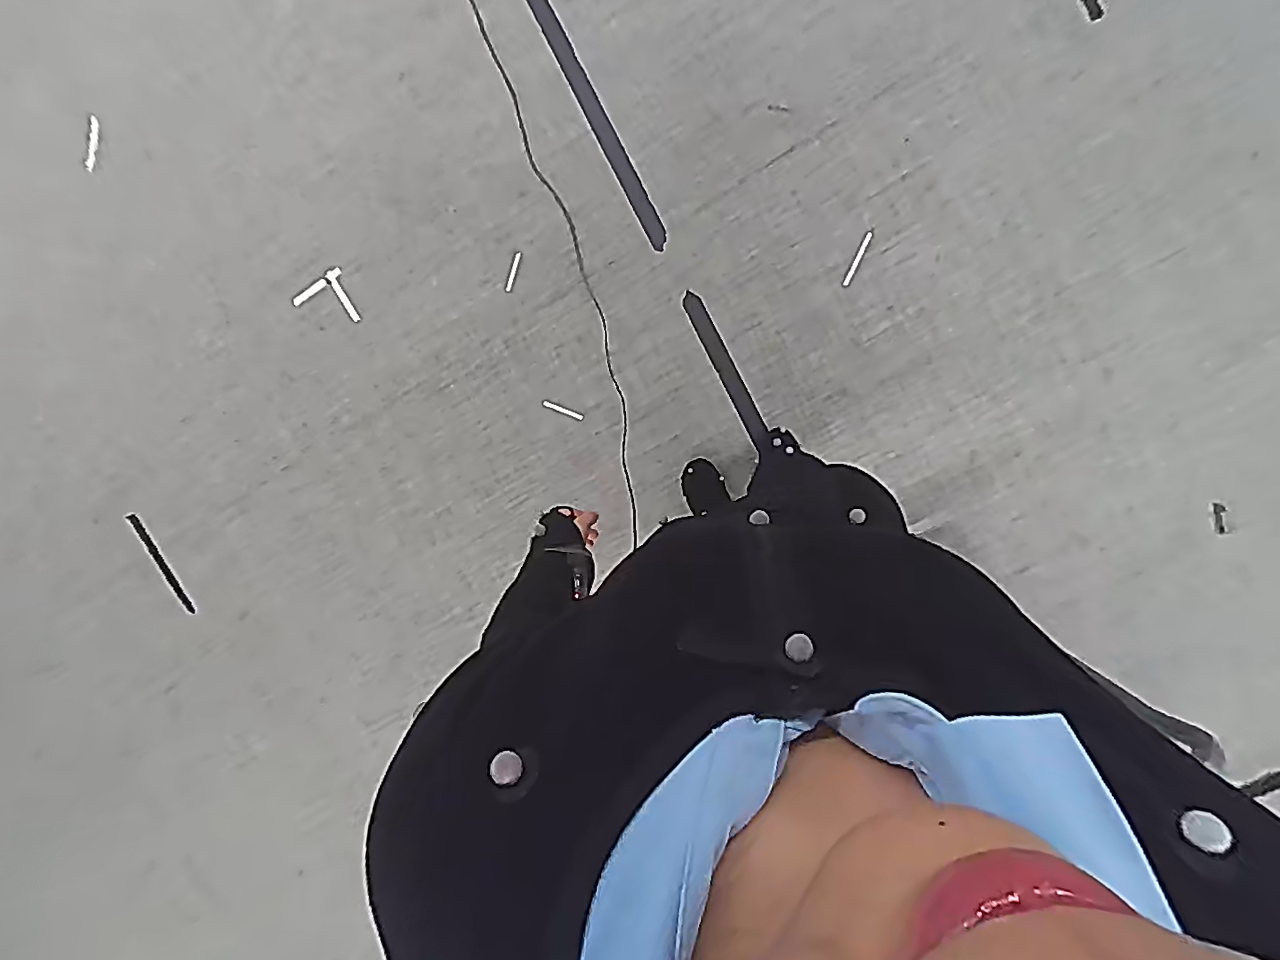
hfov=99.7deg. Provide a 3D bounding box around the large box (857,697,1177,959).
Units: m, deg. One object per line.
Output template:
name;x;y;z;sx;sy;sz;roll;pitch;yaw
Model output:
large box;0.755;0.746;1.158;0.408;0.320;0.320;-29;94;9
